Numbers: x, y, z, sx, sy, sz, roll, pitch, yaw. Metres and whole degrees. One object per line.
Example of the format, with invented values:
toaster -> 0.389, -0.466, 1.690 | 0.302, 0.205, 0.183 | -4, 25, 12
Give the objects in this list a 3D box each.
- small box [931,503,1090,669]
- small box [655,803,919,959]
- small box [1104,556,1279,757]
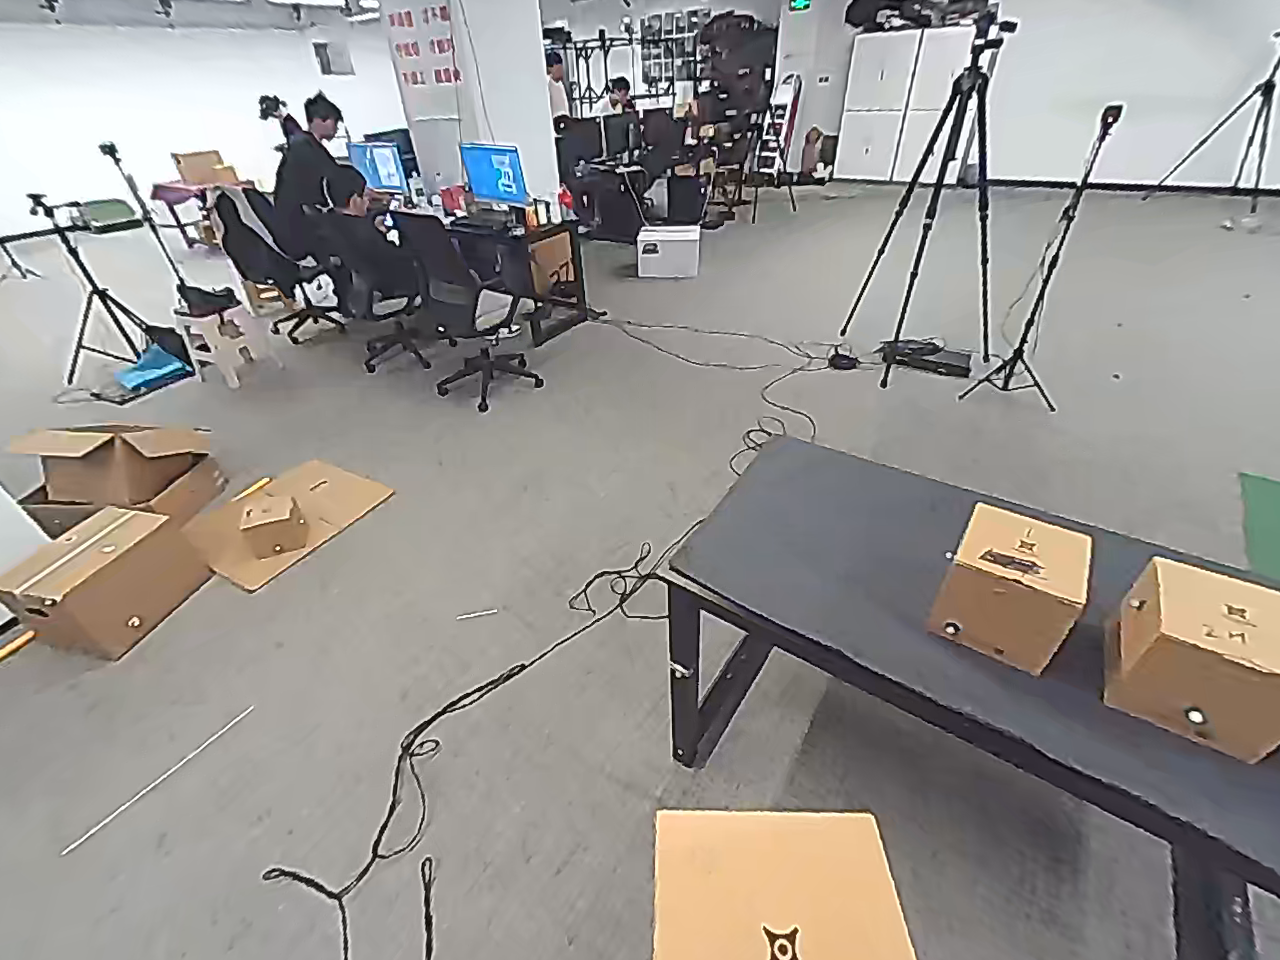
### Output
small box -> 0.601, 0.172, 0.890 | 0.168, 0.176, 0.179 | 22, 42, 30
small box -> 0.093, 0.362, 0.384 | 0.168, 0.176, 0.179 | -1, 34, 3
small box -> 0.800, 0.246, 0.772 | 0.168, 0.176, 0.179 | 20, 42, 29
